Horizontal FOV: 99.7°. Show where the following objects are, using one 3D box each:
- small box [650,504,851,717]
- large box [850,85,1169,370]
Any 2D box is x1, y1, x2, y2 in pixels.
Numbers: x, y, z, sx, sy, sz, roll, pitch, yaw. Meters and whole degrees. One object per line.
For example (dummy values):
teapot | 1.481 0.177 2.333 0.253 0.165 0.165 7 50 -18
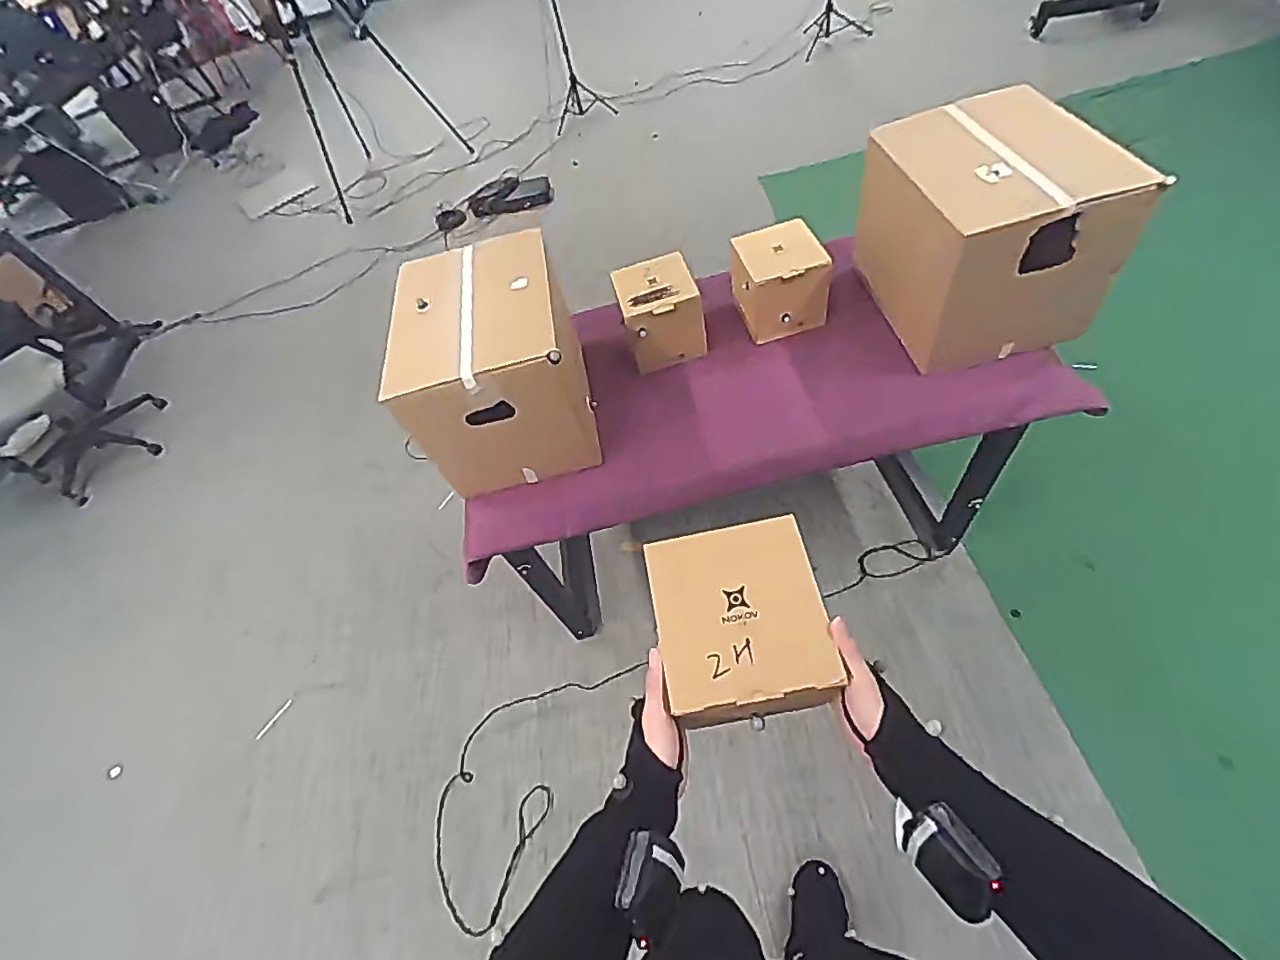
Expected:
small box | 0.111 0.152 0.603 0.168 0.176 0.179 -12 60 4
large box | 0.656 -0.492 1.066 0.320 0.320 0.408 -14 55 5
